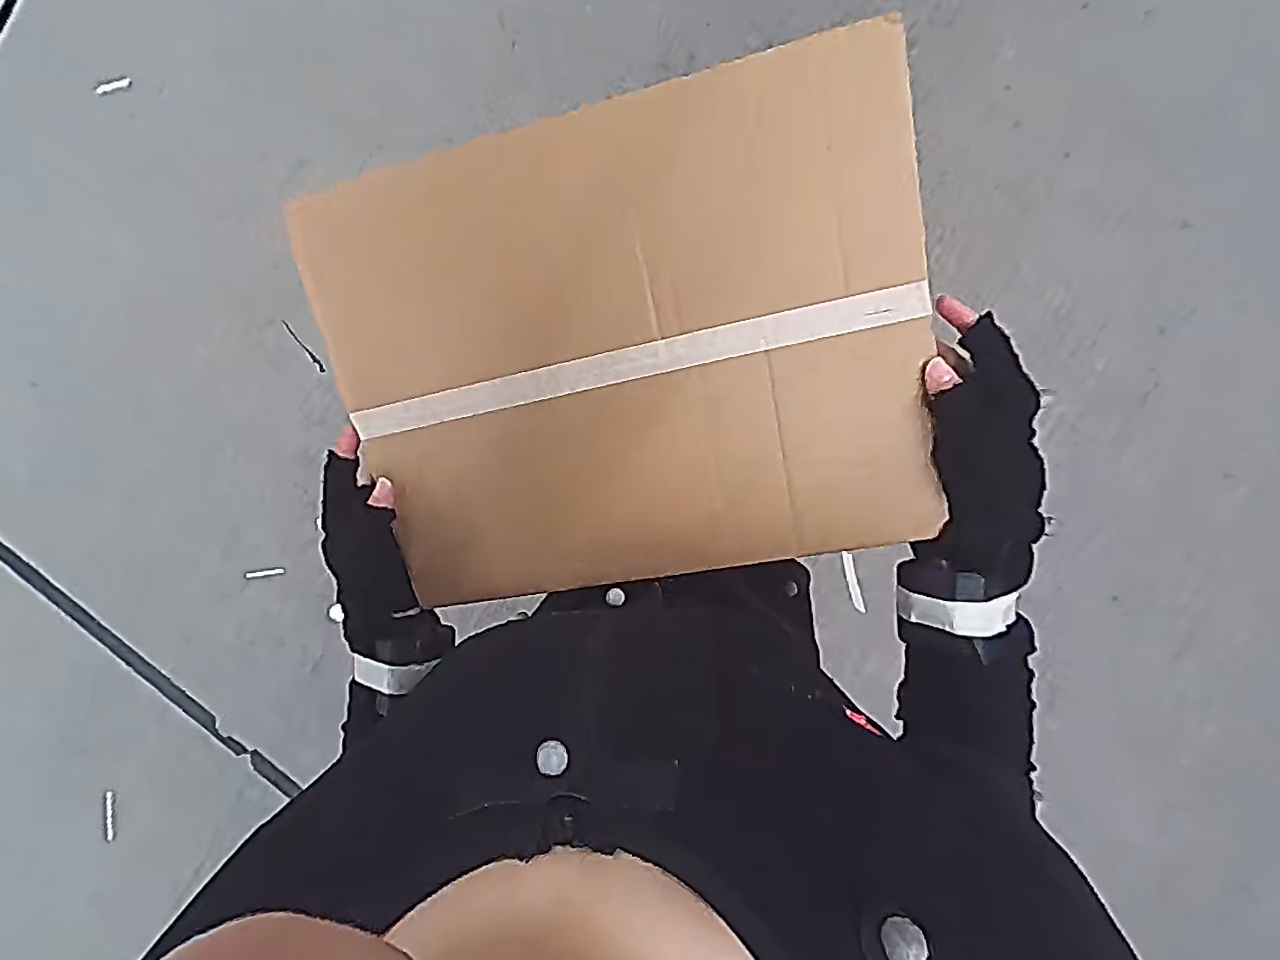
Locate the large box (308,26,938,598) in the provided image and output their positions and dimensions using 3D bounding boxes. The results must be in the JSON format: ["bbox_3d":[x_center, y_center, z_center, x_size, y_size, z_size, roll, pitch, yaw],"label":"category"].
[{"bbox_3d":[0.004,-0.118,0.522,0.408,0.320,0.320,-10,105,11],"label":"large box"}]
